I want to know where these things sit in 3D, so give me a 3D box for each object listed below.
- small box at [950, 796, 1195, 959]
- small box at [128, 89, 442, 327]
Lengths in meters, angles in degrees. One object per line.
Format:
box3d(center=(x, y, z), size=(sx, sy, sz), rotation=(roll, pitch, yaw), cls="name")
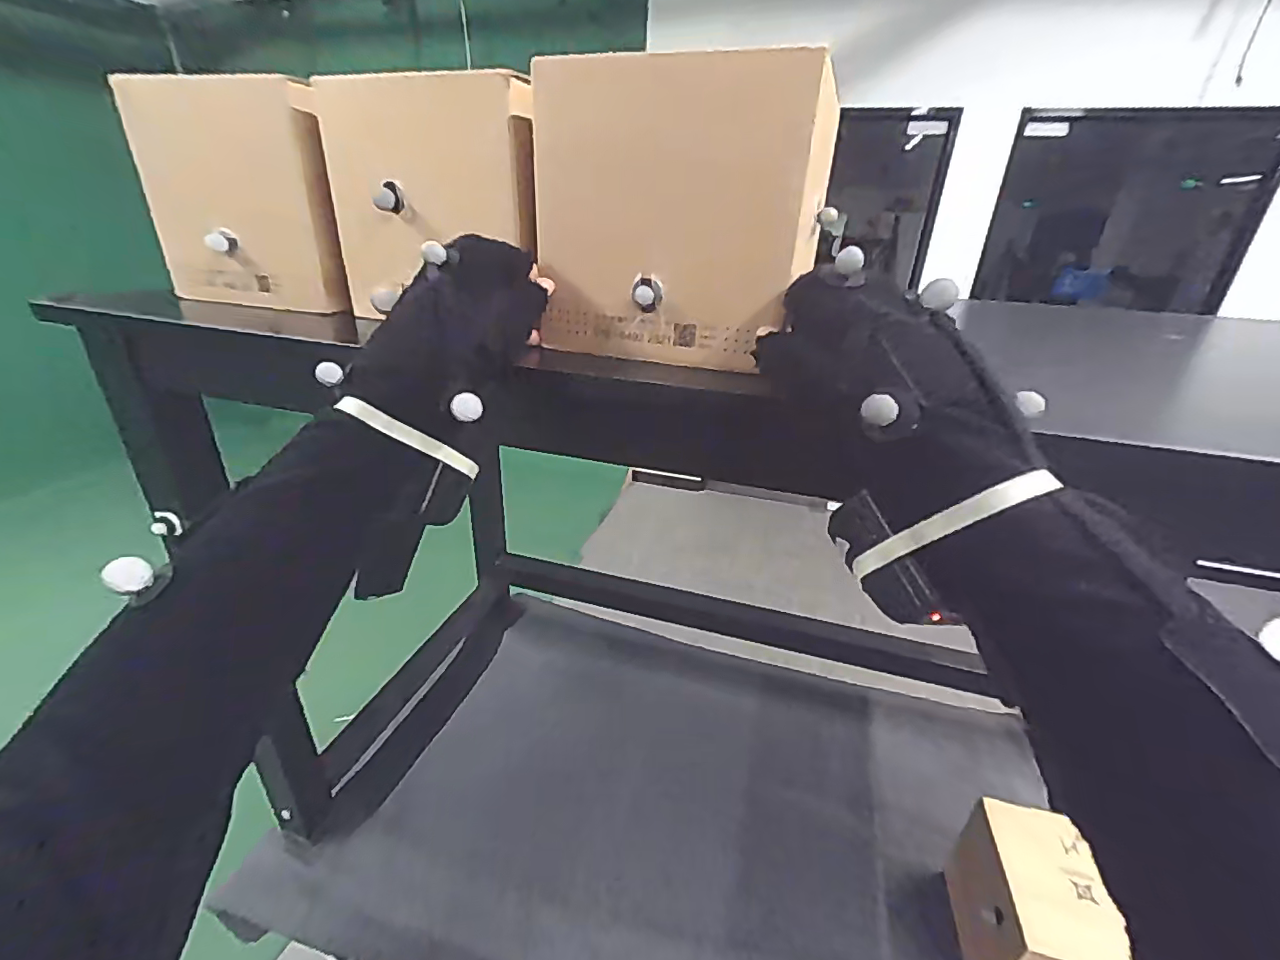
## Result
box3d(center=(0.496, 0.530, 0.644), size=(0.168, 0.176, 0.179), rotation=(9, 25, 13), cls="small box")
box3d(center=(-0.308, -0.252, 0.514), size=(0.168, 0.176, 0.179), rotation=(9, 28, 13), cls="small box")
